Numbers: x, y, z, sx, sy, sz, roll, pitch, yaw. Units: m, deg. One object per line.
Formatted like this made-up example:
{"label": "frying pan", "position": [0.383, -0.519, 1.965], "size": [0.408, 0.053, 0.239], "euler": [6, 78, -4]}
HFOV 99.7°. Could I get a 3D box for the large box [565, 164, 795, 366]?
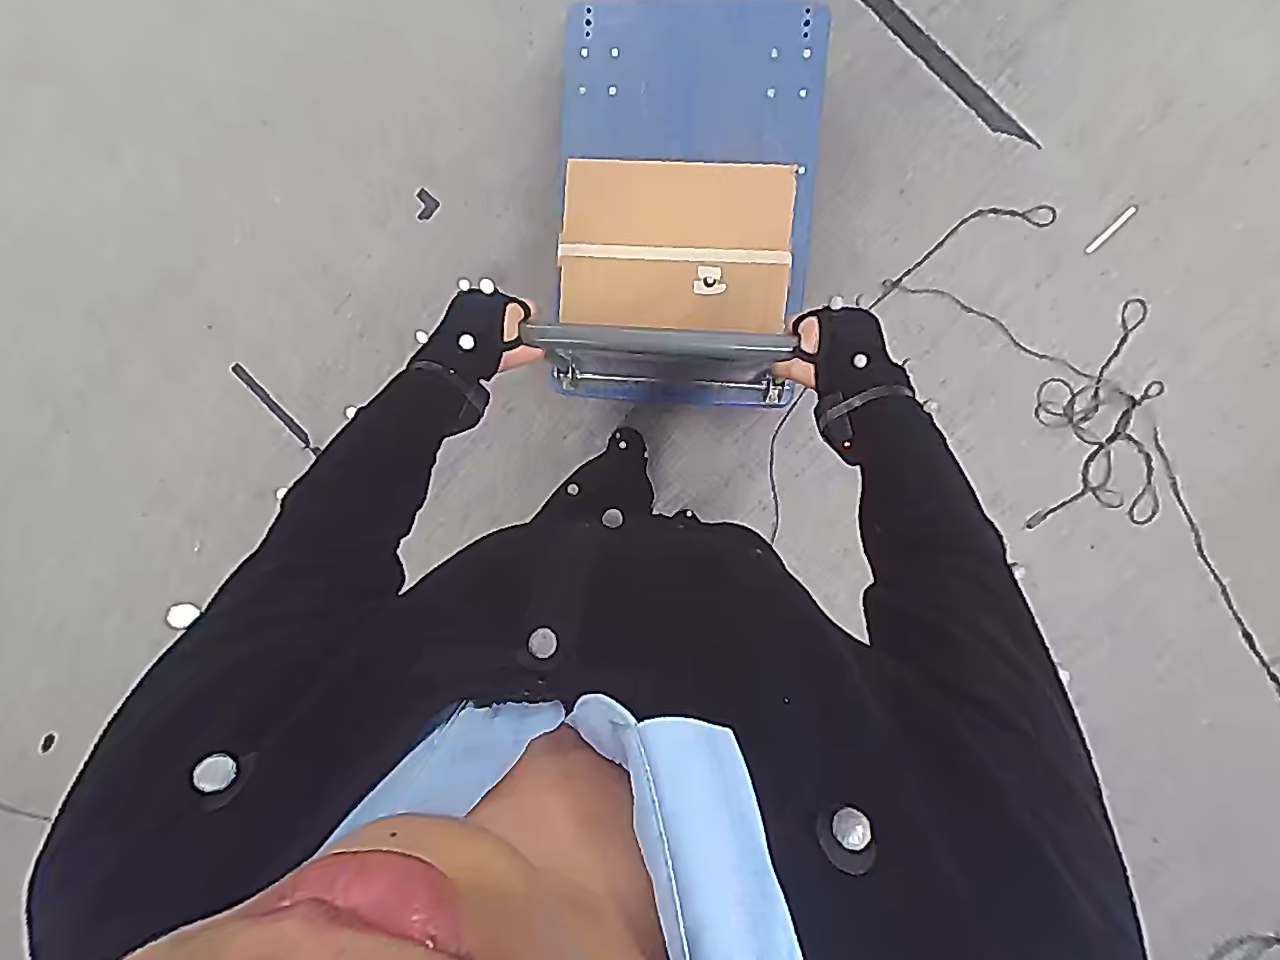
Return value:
{"label": "large box", "position": [0.074, -0.414, 1.112], "size": [0.408, 0.320, 0.320], "euler": [4, 97, 4]}
